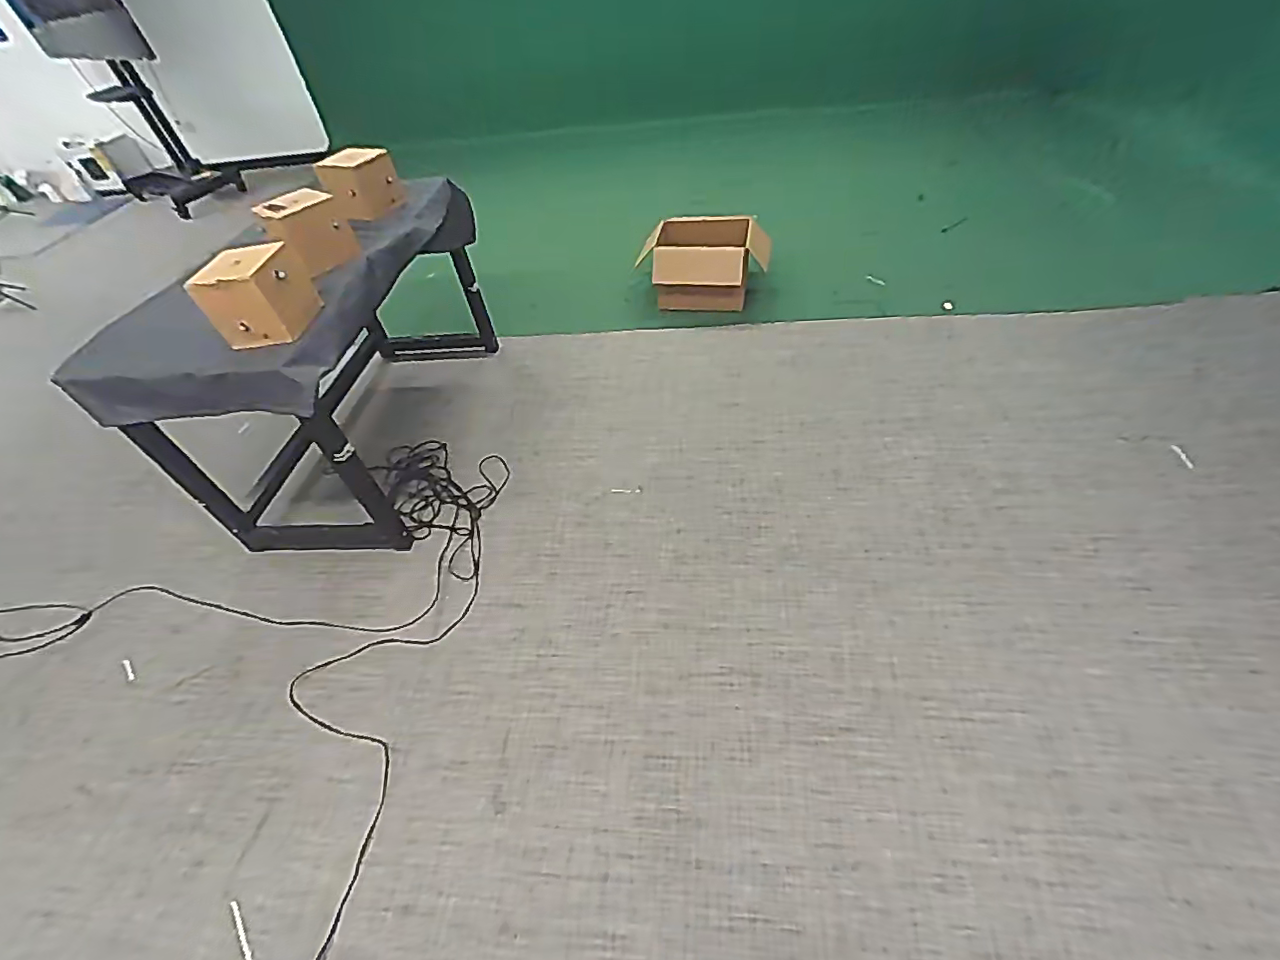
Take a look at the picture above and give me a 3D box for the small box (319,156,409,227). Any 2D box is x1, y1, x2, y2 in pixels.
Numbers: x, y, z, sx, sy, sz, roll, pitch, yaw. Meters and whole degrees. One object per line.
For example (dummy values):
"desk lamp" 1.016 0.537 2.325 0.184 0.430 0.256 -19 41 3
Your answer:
"small box" -0.919 -0.968 1.816 0.179 0.176 0.168 12 49 21

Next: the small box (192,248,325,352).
"small box" -0.899 -0.430 1.298 0.168 0.176 0.179 -6 47 7
